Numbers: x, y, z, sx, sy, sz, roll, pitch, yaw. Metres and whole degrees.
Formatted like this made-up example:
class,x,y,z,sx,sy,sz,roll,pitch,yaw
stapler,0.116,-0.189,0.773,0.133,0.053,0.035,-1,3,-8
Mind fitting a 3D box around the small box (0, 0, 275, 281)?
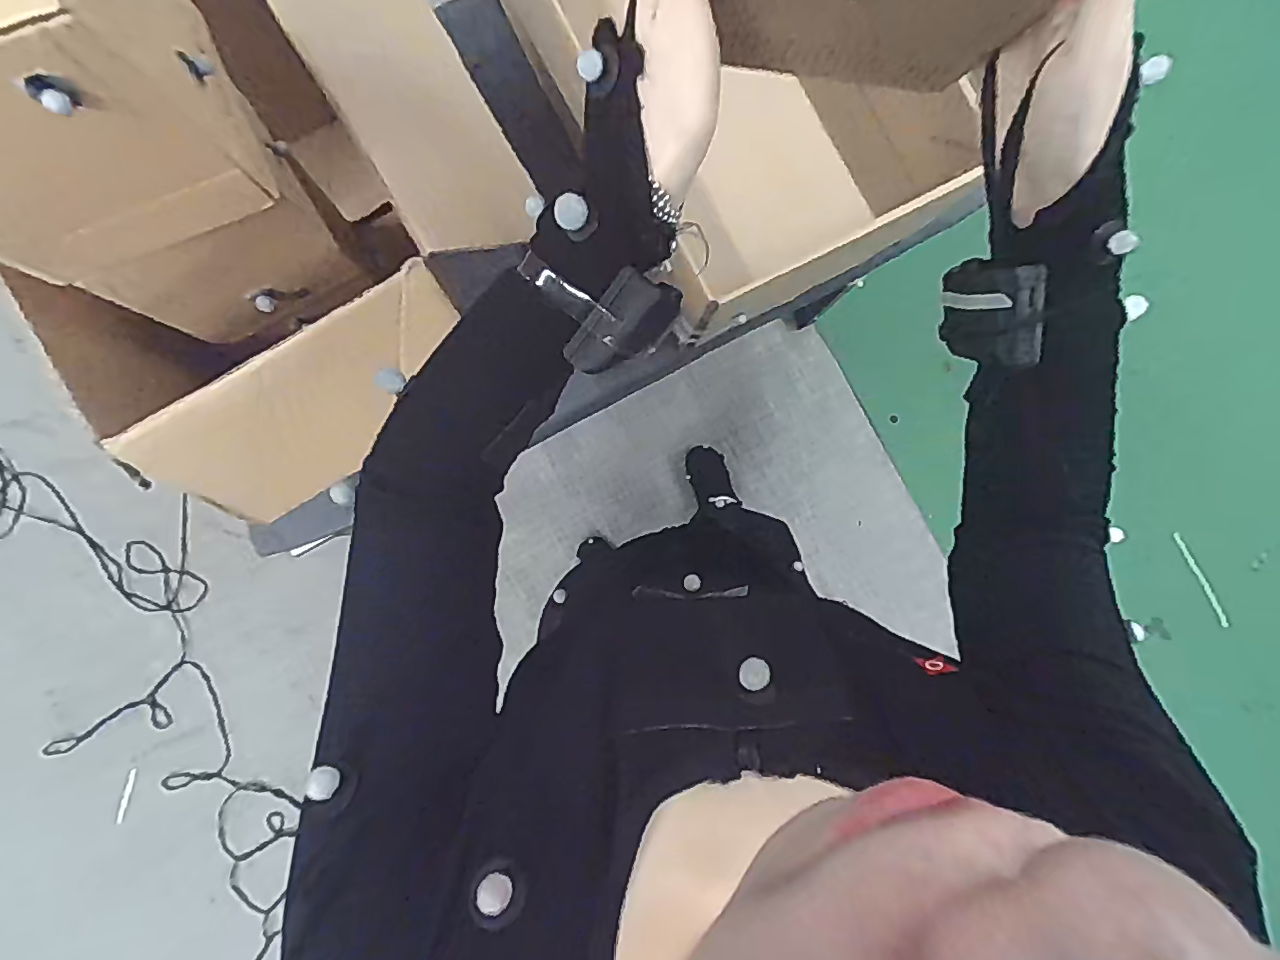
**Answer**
class,x,y,z,sx,sy,sz,roll,pitch,yaw
small box,-0.382,-0.253,0.333,0.179,0.176,0.168,-24,89,-5
